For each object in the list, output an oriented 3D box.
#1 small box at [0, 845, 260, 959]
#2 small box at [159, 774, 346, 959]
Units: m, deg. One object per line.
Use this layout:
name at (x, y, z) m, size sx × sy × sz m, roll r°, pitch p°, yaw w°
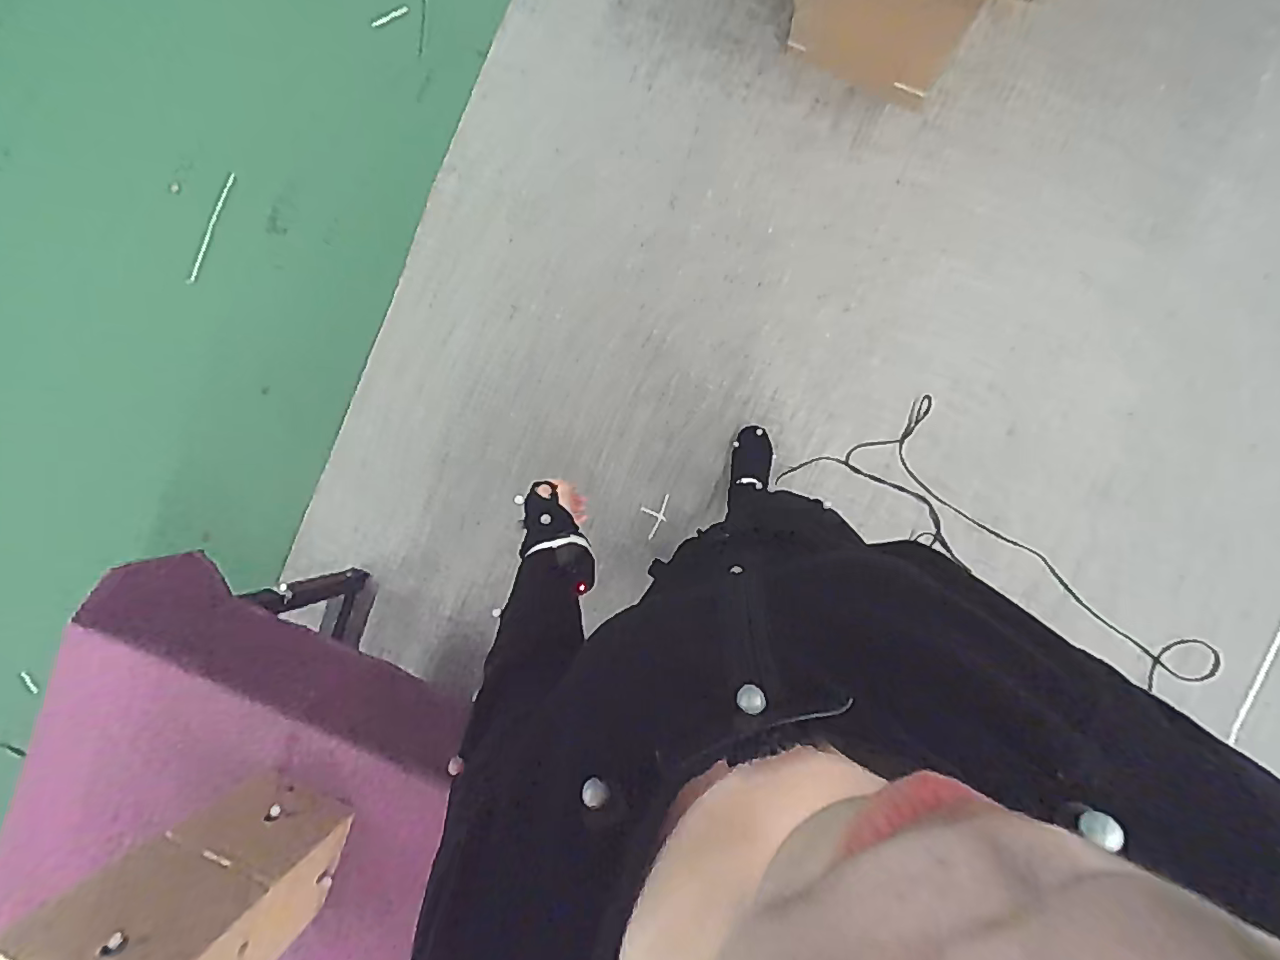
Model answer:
small box at (-0.575, 0.555, 0.599) m, size 0.179 × 0.176 × 0.168 m, roll 19°, pitch 92°, yaw 6°
small box at (-0.555, 0.559, 0.763) m, size 0.168 × 0.176 × 0.179 m, roll 20°, pitch 91°, yaw 6°
